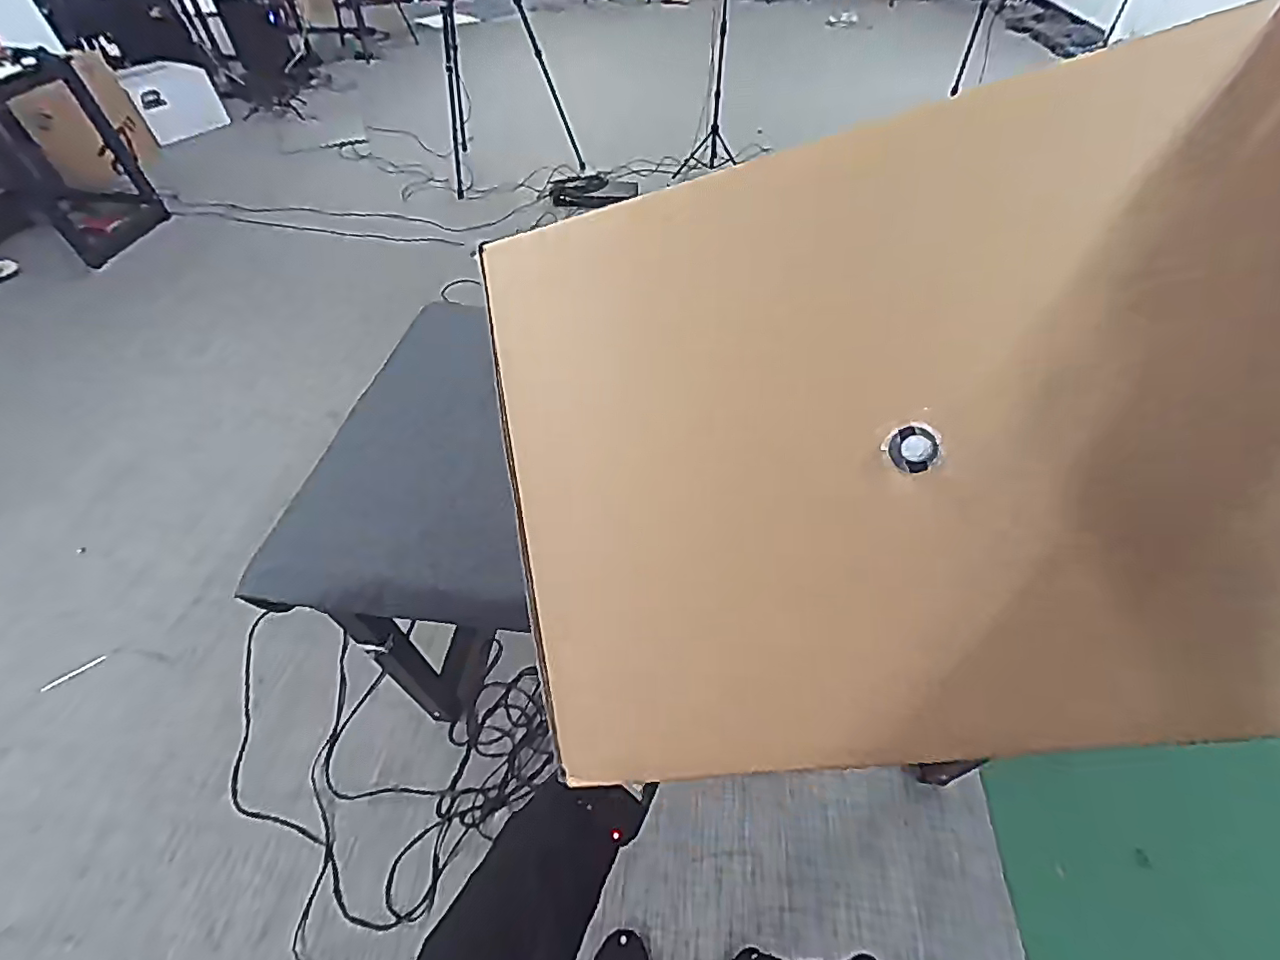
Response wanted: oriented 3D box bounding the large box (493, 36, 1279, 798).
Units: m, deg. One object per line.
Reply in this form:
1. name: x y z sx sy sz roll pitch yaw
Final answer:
1. large box: 0.164 -0.007 0.412 0.408 0.320 0.320 -13 83 11
